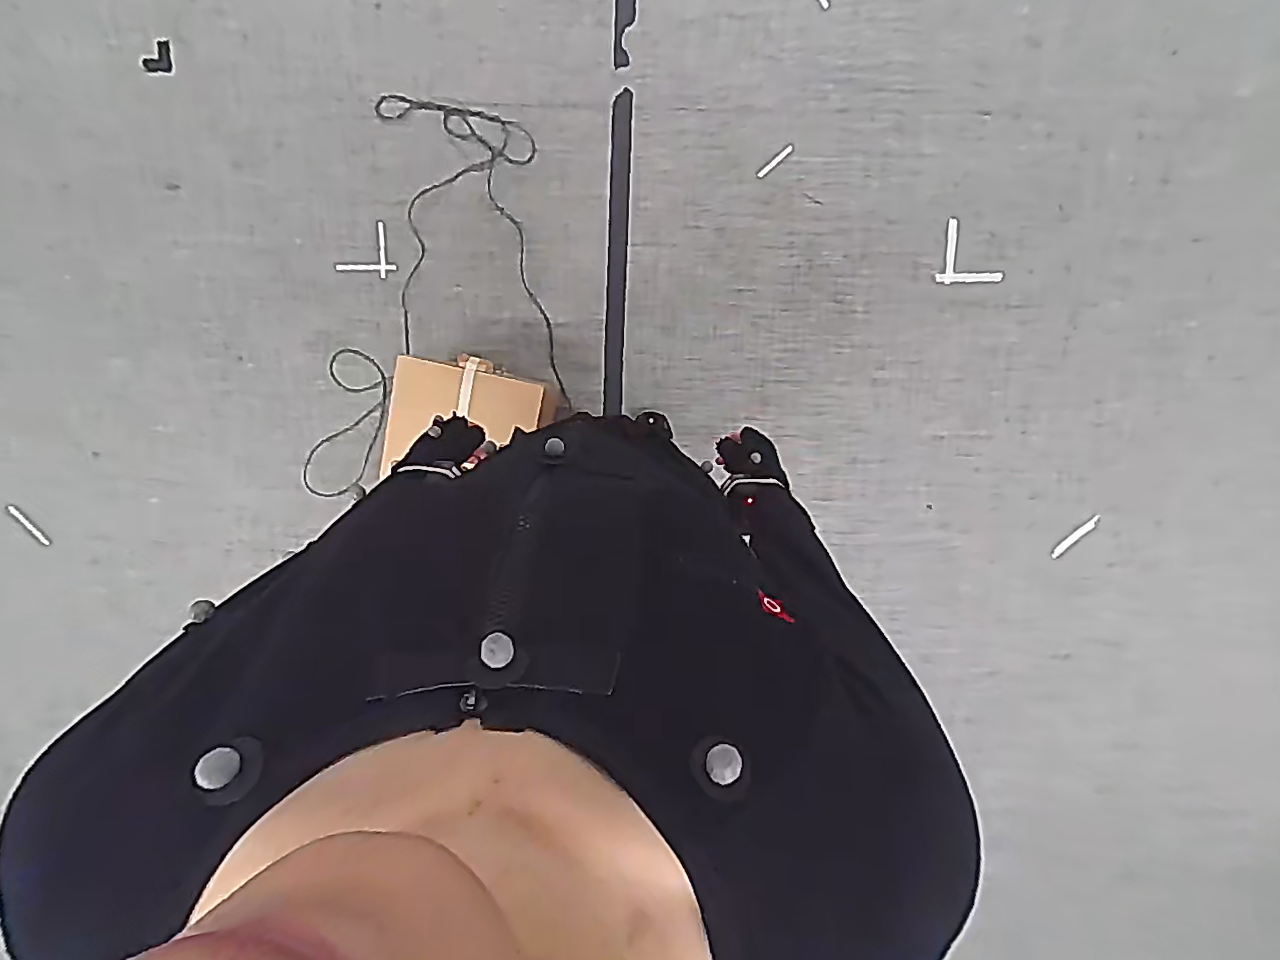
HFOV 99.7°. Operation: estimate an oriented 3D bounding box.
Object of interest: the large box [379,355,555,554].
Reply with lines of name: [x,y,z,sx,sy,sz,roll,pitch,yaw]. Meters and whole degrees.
large box: [-0.407,-0.078,1.338,0.320,0.320,0.408,12,100,-3]
